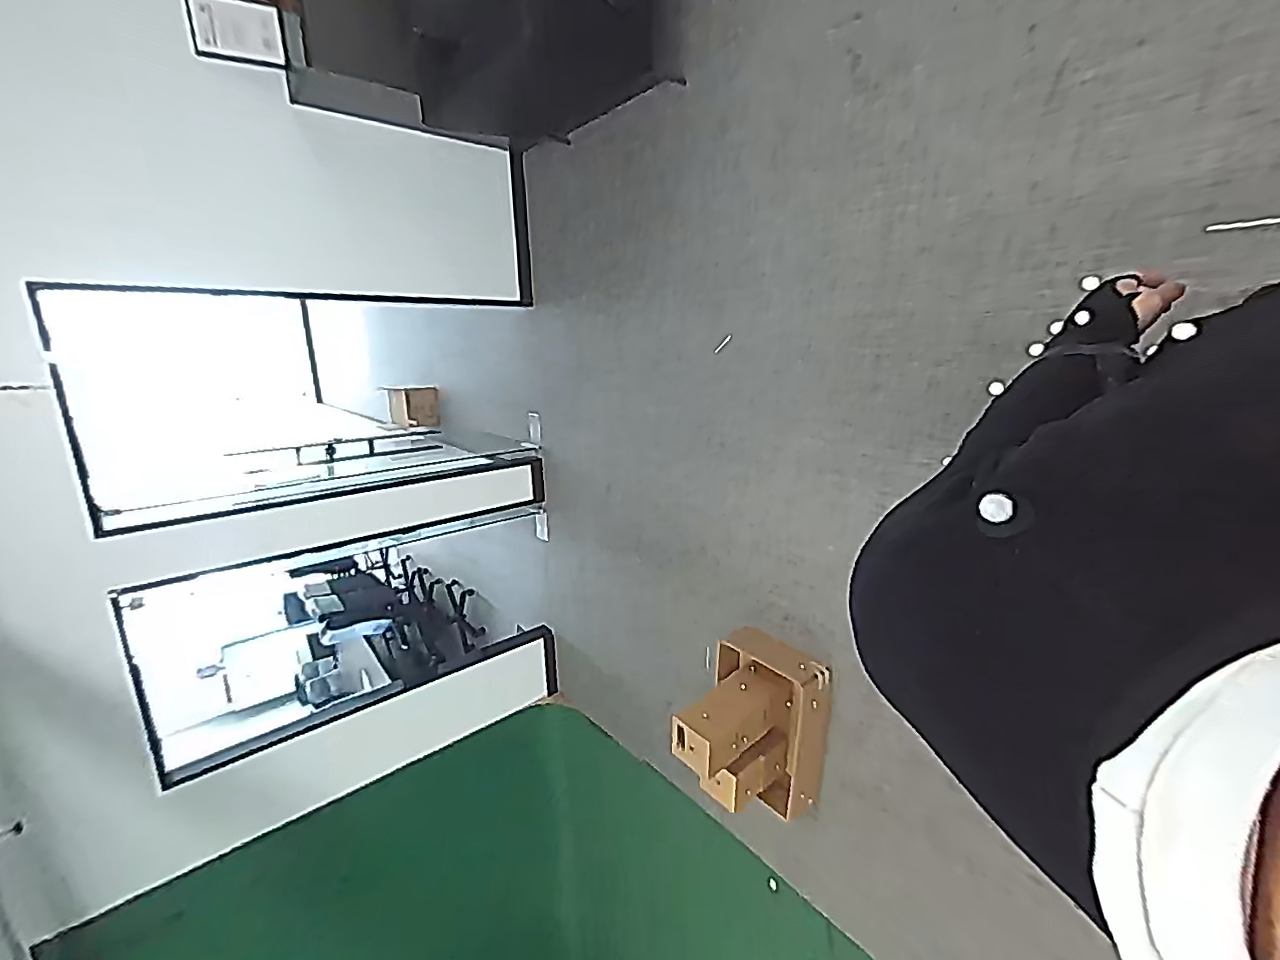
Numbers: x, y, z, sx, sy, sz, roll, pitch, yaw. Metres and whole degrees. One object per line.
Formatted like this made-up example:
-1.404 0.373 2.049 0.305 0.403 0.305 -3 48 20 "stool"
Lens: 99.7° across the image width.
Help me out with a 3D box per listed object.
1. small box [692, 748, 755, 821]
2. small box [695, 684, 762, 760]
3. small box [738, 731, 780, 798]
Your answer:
0.319 1.136 2.059 0.179 0.176 0.168 15 110 48 "small box"
0.324 0.880 1.992 0.179 0.176 0.168 17 113 47 "small box"
0.440 1.116 2.163 0.179 0.176 0.168 17 111 47 "small box"
